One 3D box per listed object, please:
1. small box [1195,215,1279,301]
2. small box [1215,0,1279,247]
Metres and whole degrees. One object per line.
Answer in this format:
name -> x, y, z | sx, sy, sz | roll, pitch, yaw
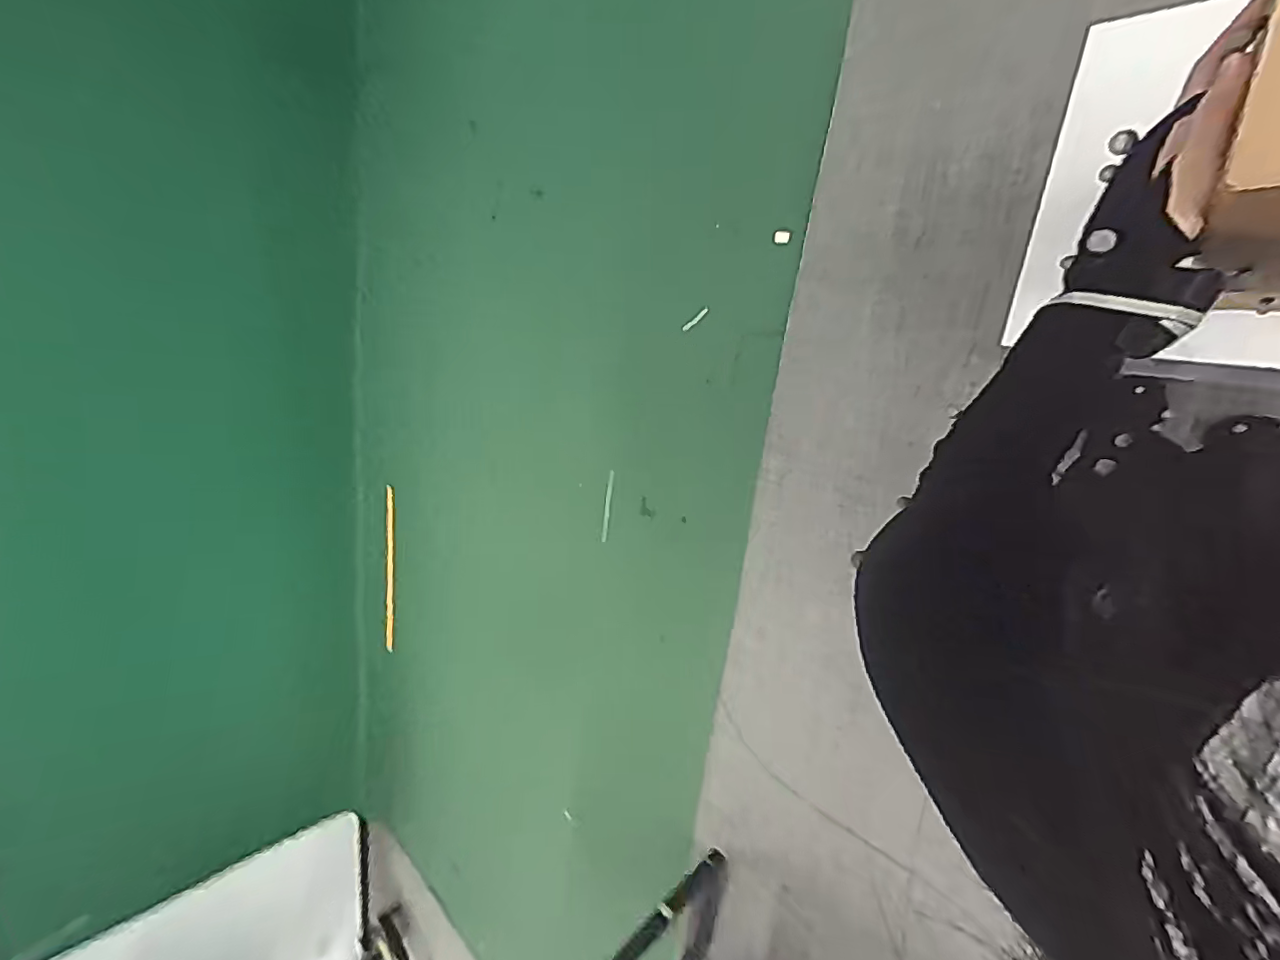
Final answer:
small box -> 0.664, -0.271, 0.508 | 0.168, 0.176, 0.179 | 19, 108, 40
small box -> 0.432, -0.236, 0.272 | 0.168, 0.176, 0.179 | 15, 103, 41
